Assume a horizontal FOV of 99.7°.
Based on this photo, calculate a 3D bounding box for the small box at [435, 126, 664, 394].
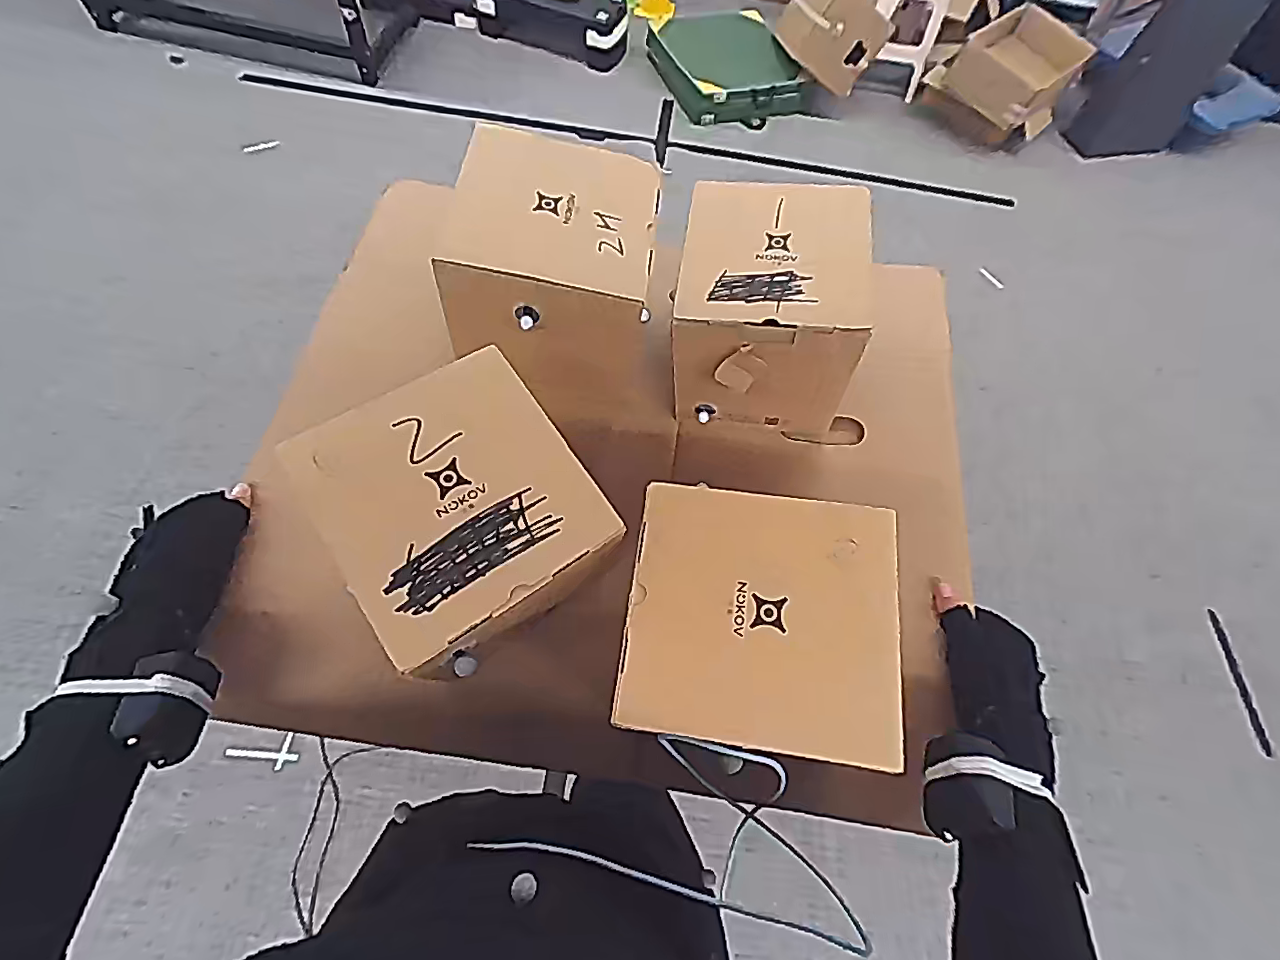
[{"bbox_3d":[-0.084,-0.206,0.546,0.179,0.176,0.168,10,67,-7],"label":"small box"}]
